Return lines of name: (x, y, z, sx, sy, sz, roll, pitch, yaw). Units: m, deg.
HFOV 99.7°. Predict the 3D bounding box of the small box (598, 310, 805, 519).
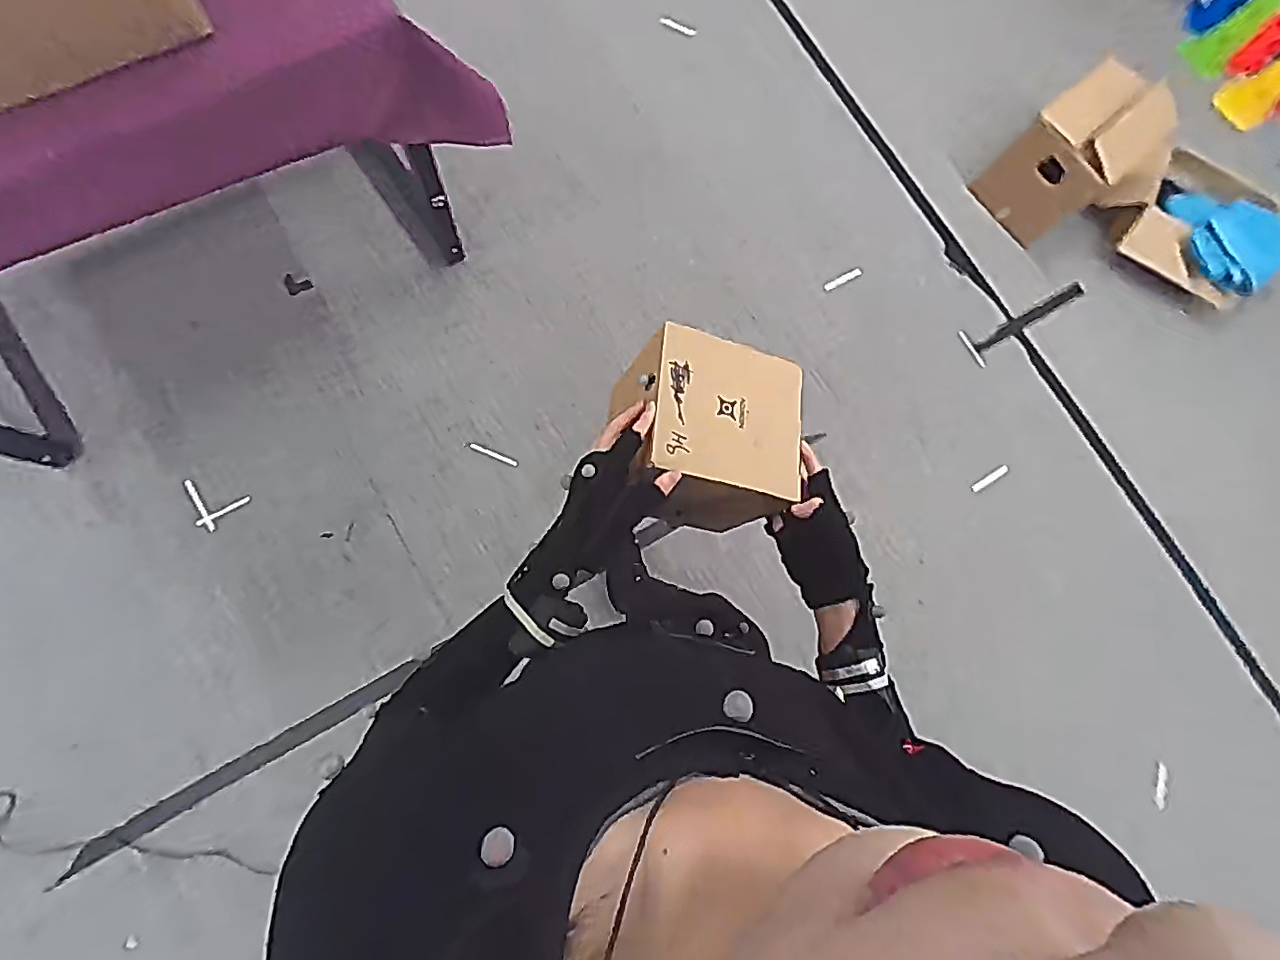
small box: (0.067, -0.059, 0.625, 0.179, 0.176, 0.168, 13, 69, -20)
